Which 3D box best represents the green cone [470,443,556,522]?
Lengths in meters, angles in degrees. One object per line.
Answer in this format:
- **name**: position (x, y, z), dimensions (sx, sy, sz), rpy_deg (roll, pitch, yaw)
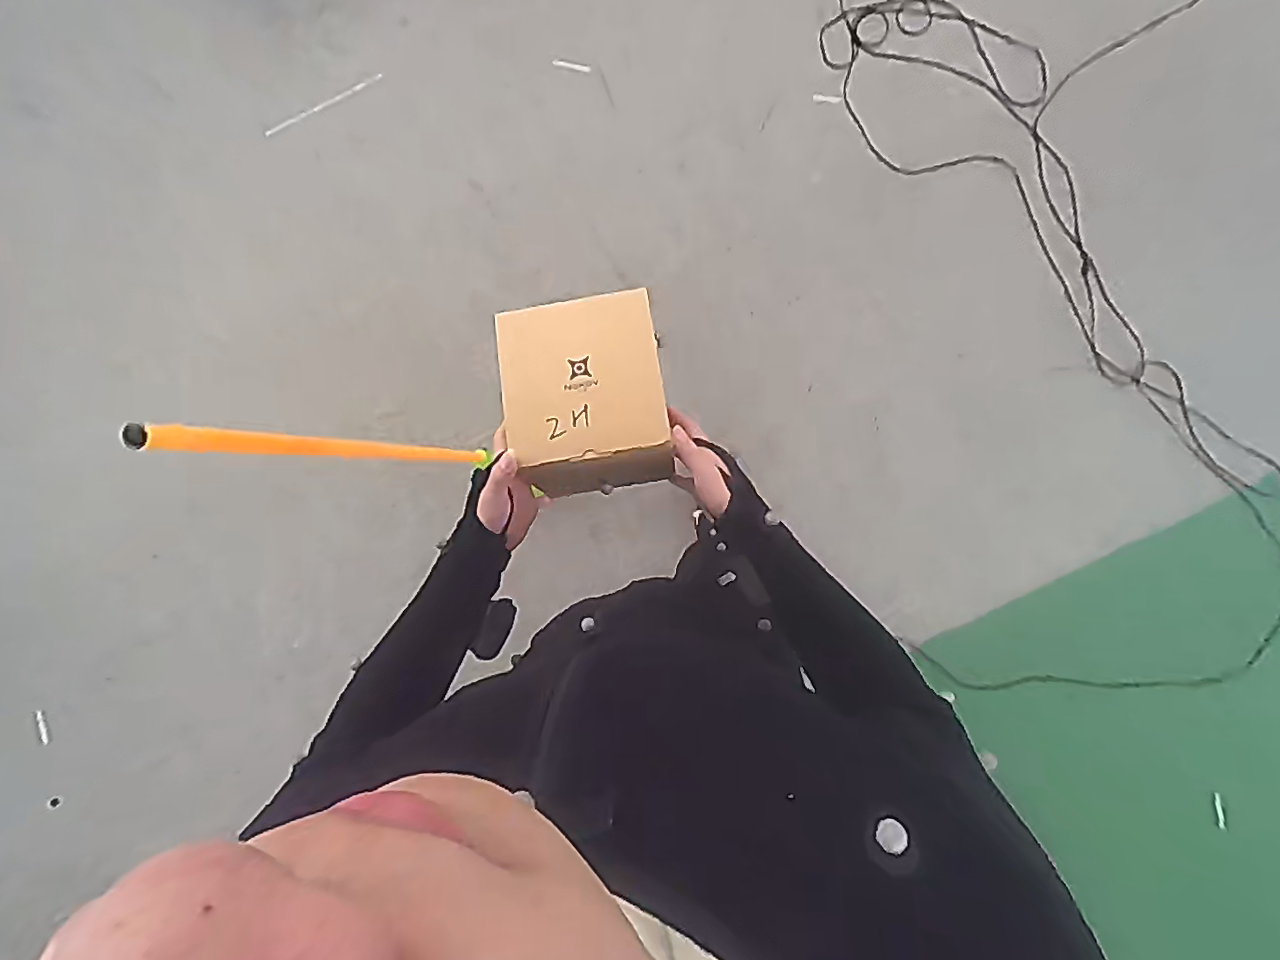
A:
- **green cone**: position (-0.387, -0.018, 1.487), dimensions (0.202, 0.368, 0.200), rpy_deg (-24, 81, -1)
